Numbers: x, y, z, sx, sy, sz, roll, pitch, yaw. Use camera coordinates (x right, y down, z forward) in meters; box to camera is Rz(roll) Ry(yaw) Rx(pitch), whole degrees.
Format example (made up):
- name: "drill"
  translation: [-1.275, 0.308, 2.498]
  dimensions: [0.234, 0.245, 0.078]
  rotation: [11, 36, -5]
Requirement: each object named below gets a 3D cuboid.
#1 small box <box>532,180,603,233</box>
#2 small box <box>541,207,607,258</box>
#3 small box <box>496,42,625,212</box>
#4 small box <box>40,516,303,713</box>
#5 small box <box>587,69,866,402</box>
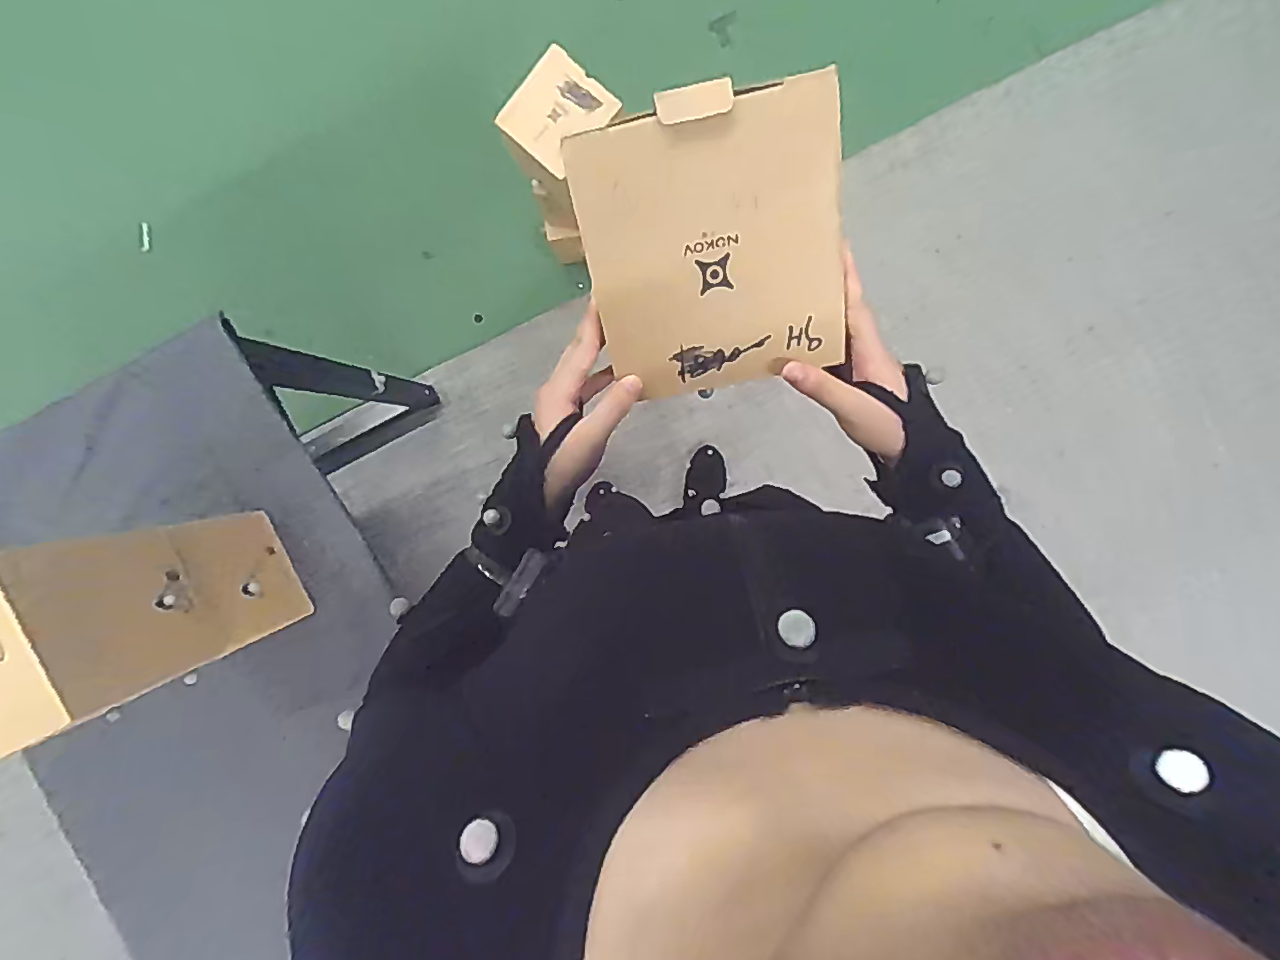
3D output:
- name: "small box"
  translation: [-0.129, -0.677, 1.204]
  dimensions: [0.168, 0.176, 0.179]
  rotation: [11, 93, 0]
- name: "small box"
  translation: [-0.154, -0.679, 1.367]
  dimensions: [0.168, 0.176, 0.179]
  rotation: [-9, 93, 2]
- name: "small box"
  translation: [-0.143, -0.663, 1.040]
  dimensions: [0.168, 0.176, 0.179]
  rotation: [41, 95, -2]
- name: "small box"
  translation: [-0.584, 0.160, 0.706]
  dimensions: [0.179, 0.176, 0.168]
  rotation: [-26, 92, 5]
- name: "small box"
  translation: [0.061, -0.182, 0.418]
  dimensions: [0.168, 0.176, 0.179]
  rotation: [-9, 120, 6]
